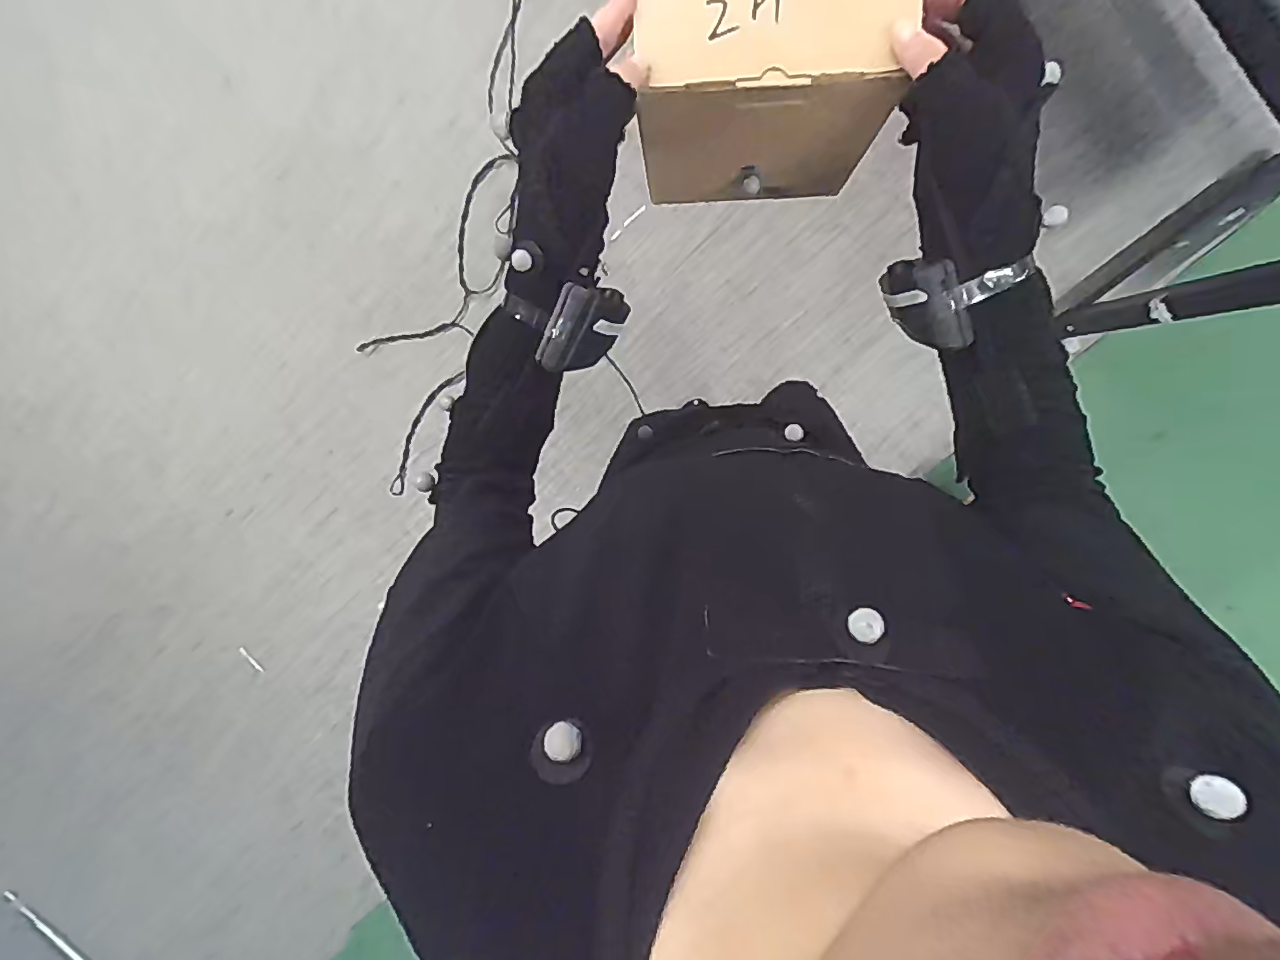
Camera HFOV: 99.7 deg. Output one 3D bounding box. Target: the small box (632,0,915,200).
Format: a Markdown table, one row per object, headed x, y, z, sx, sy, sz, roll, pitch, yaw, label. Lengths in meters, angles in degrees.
| x | y | z | sx | sy | sz | roll | pitch | yaw | label |
| --- | --- | --- | --- | --- | --- | --- | --- | --- | --- |
| 0.082 | -0.329 | 0.389 | 0.168 | 0.176 | 0.179 | 0 | 96 | 5 | small box |
